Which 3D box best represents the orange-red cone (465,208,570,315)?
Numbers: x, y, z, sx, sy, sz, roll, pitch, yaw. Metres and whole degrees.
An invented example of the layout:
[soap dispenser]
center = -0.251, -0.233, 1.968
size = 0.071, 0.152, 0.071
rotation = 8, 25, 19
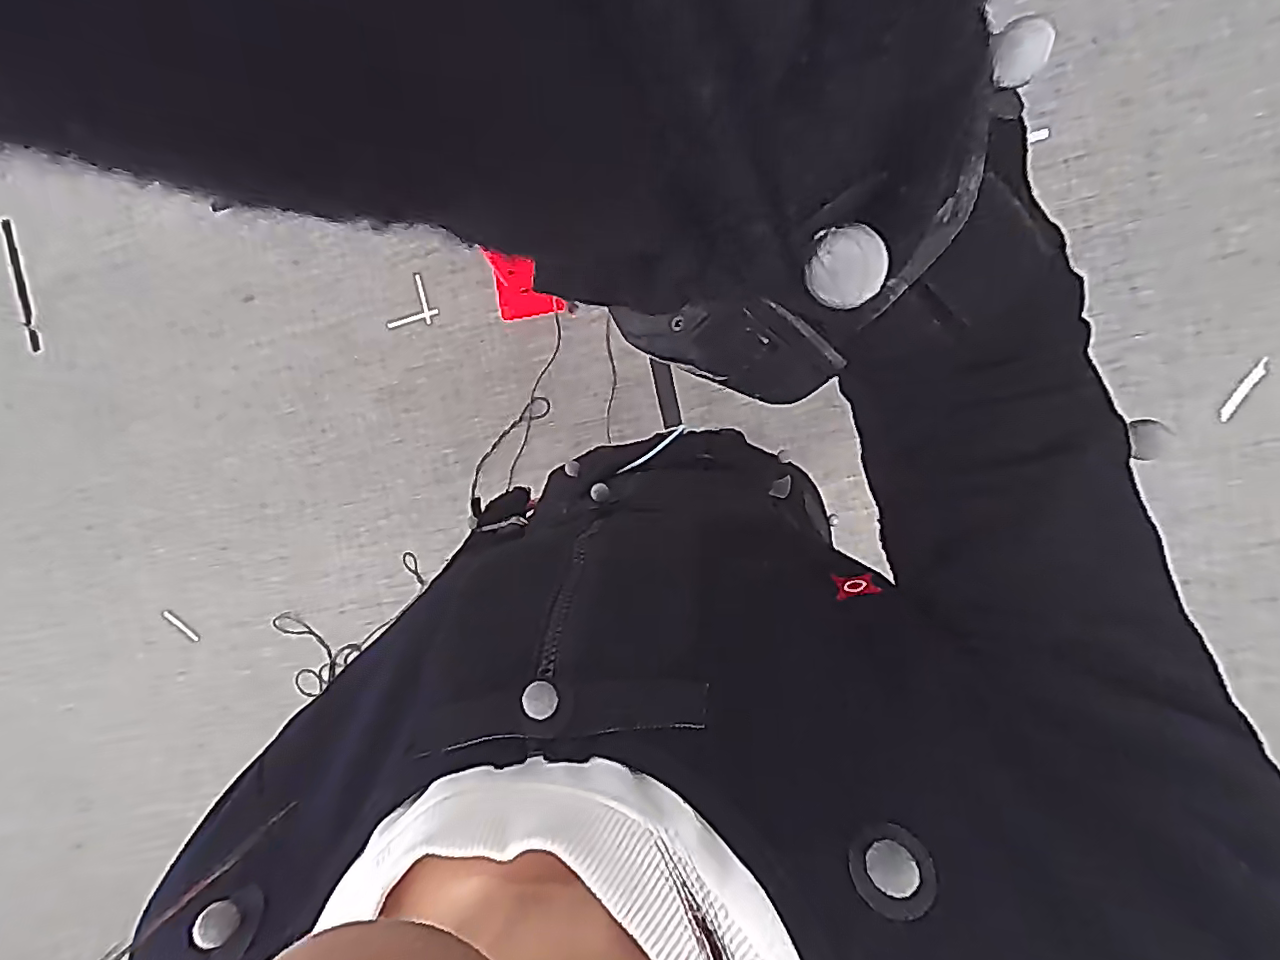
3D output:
[orange-red cone]
center = -0.312, -0.535, 1.259
size = 0.199, 0.360, 0.198
rotation = -7, 92, 9
